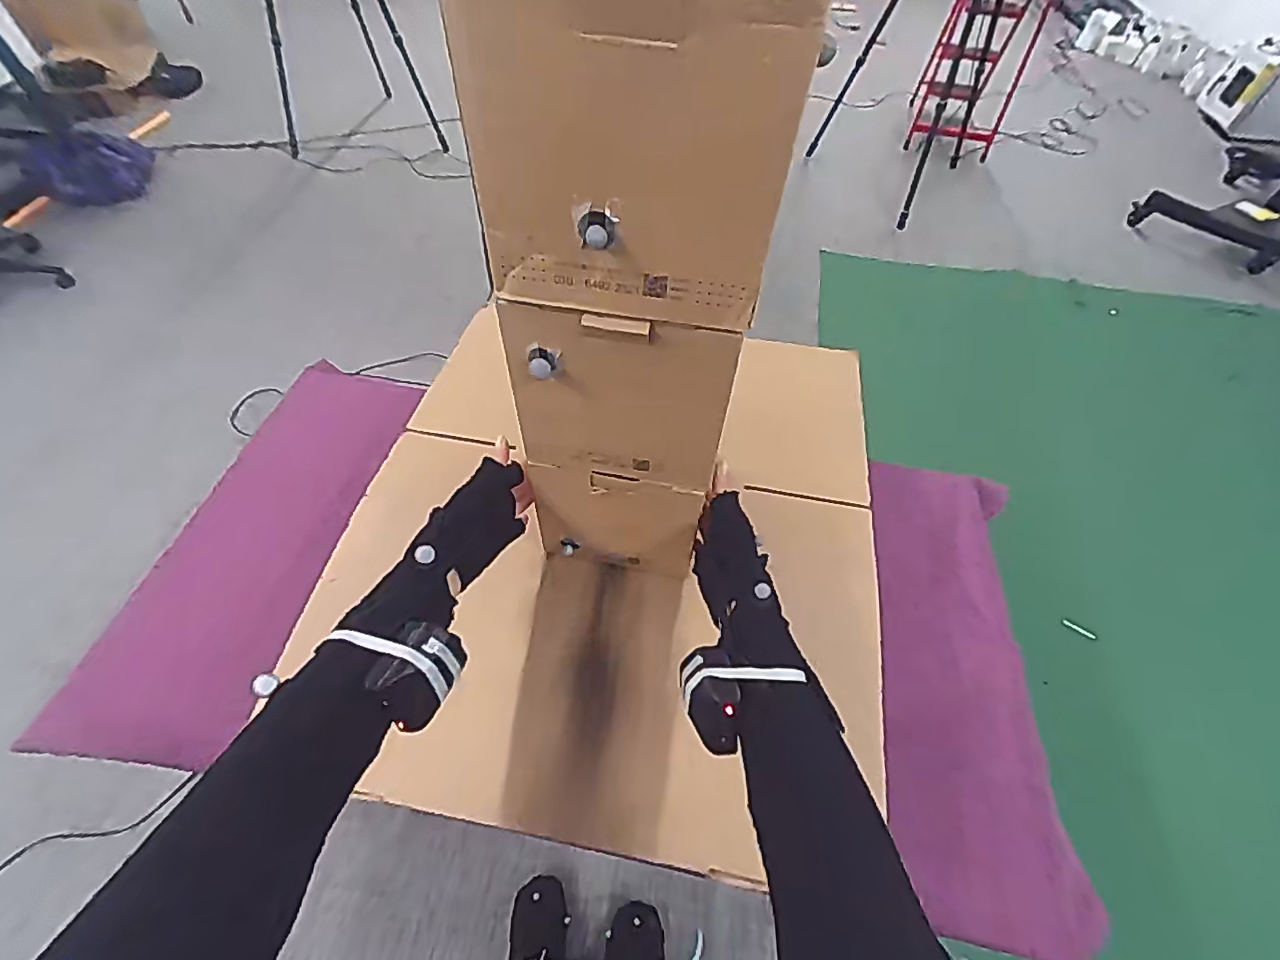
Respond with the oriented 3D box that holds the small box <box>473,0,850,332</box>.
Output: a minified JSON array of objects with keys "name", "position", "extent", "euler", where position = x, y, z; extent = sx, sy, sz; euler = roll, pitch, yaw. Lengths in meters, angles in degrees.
[{"name":"small box","position":[0.012,-0.220,0.331],"extent":[0.168,0.176,0.179],"euler":[9,53,3]}]

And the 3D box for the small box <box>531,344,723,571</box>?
[{"name":"small box","position":[-0.008,-0.019,0.590],"extent":[0.168,0.176,0.179],"euler":[8,55,3]}]
